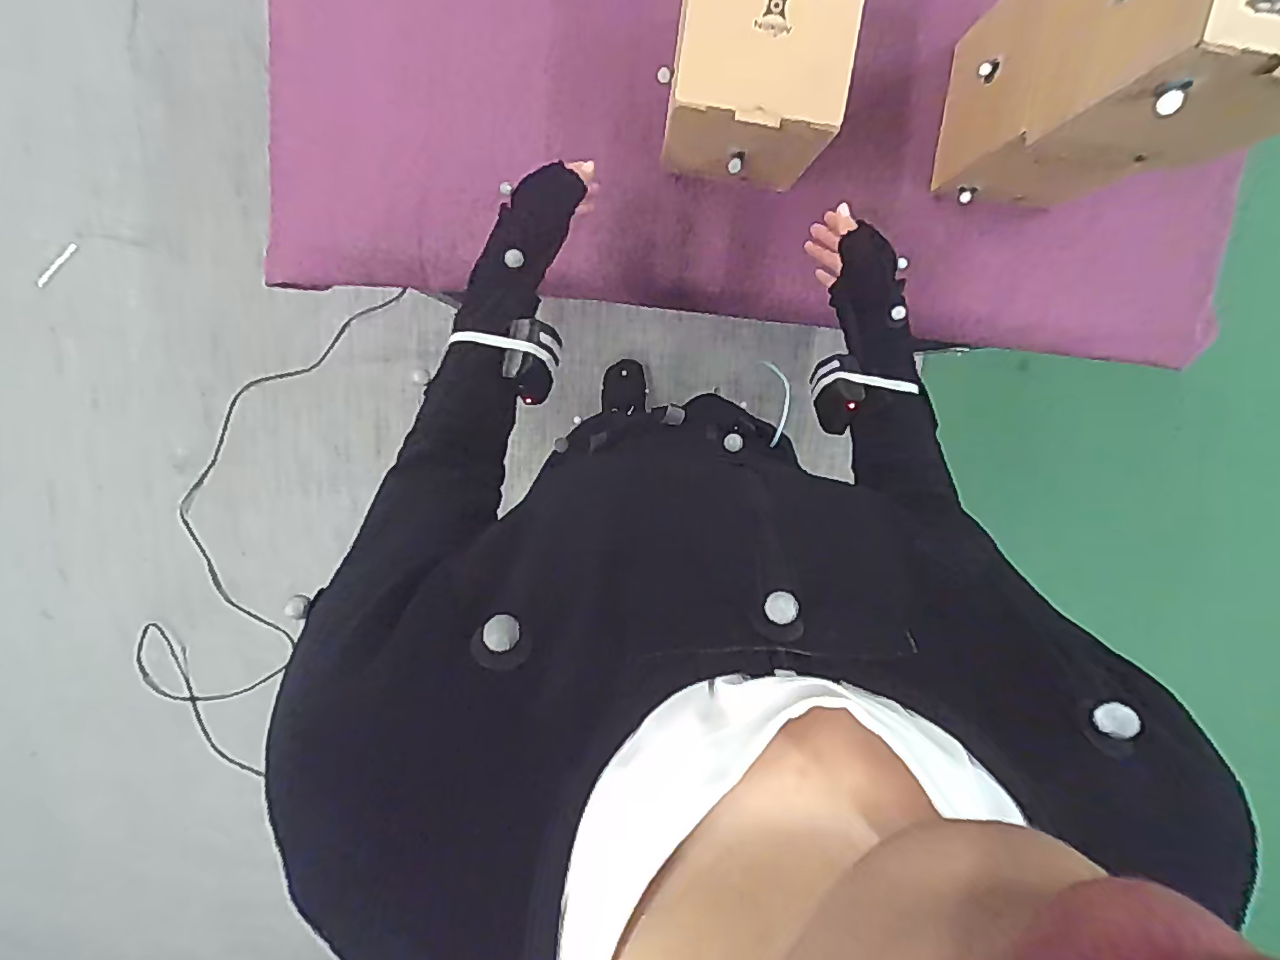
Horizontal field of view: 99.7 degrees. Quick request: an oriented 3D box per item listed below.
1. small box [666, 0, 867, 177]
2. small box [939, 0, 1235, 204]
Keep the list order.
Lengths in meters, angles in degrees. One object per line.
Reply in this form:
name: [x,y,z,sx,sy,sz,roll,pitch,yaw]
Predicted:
small box: [0.124,-0.451,0.576,0.168,0.176,0.179,8,100,-4]
small box: [0.464,-0.427,0.591,0.168,0.176,0.179,9,100,-6]
